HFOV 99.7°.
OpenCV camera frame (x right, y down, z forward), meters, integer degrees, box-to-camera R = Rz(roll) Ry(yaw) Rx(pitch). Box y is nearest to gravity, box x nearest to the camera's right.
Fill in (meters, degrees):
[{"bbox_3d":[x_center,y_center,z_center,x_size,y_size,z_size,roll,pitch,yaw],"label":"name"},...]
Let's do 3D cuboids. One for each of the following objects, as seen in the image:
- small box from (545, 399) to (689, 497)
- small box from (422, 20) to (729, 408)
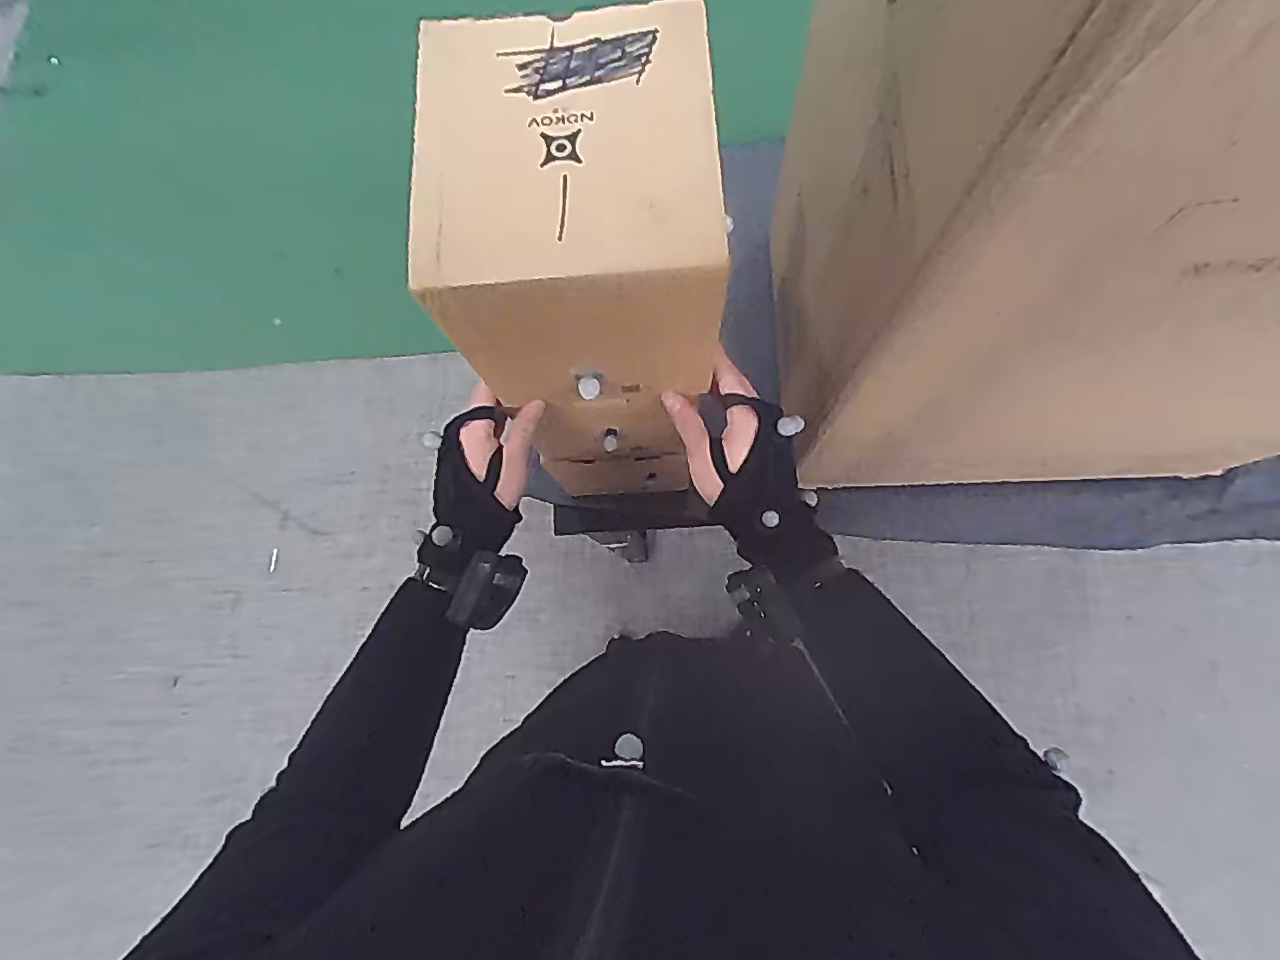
[{"bbox_3d":[-0.024,-0.079,0.699,0.168,0.176,0.179,-4,73,2],"label":"small box"},{"bbox_3d":[-0.033,-0.166,0.381,0.168,0.176,0.179,-4,76,3],"label":"small box"}]
